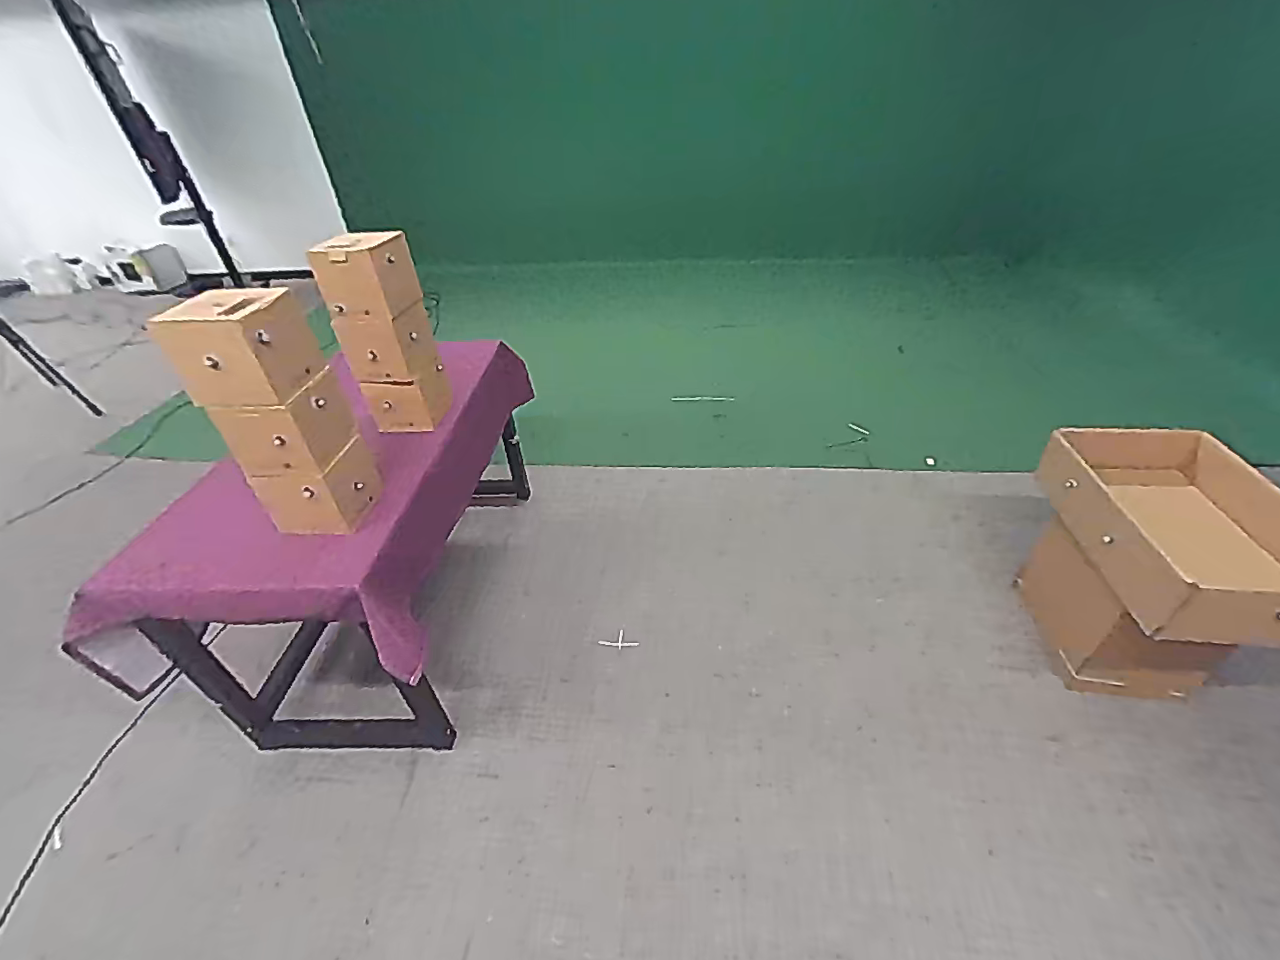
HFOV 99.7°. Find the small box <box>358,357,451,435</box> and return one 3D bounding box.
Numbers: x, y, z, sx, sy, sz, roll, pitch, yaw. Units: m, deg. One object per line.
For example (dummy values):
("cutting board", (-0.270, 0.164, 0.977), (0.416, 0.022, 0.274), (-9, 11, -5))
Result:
("small box", (-0.668, -0.240, 1.562), (0.168, 0.176, 0.179), (-1, 37, 5))

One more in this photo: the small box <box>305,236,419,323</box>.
("small box", (-0.687, -0.503, 1.364), (0.168, 0.176, 0.179), (1, 36, 8))

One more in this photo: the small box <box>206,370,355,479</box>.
("small box", (-0.734, -0.114, 1.131), (0.168, 0.176, 0.179), (0, 37, 4))

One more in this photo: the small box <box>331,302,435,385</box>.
("small box", (-0.679, -0.366, 1.457), (0.168, 0.176, 0.179), (2, 38, 8))

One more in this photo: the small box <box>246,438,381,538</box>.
("small box", (-0.724, 0.019, 1.226), (0.179, 0.176, 0.168), (0, 37, 6))
